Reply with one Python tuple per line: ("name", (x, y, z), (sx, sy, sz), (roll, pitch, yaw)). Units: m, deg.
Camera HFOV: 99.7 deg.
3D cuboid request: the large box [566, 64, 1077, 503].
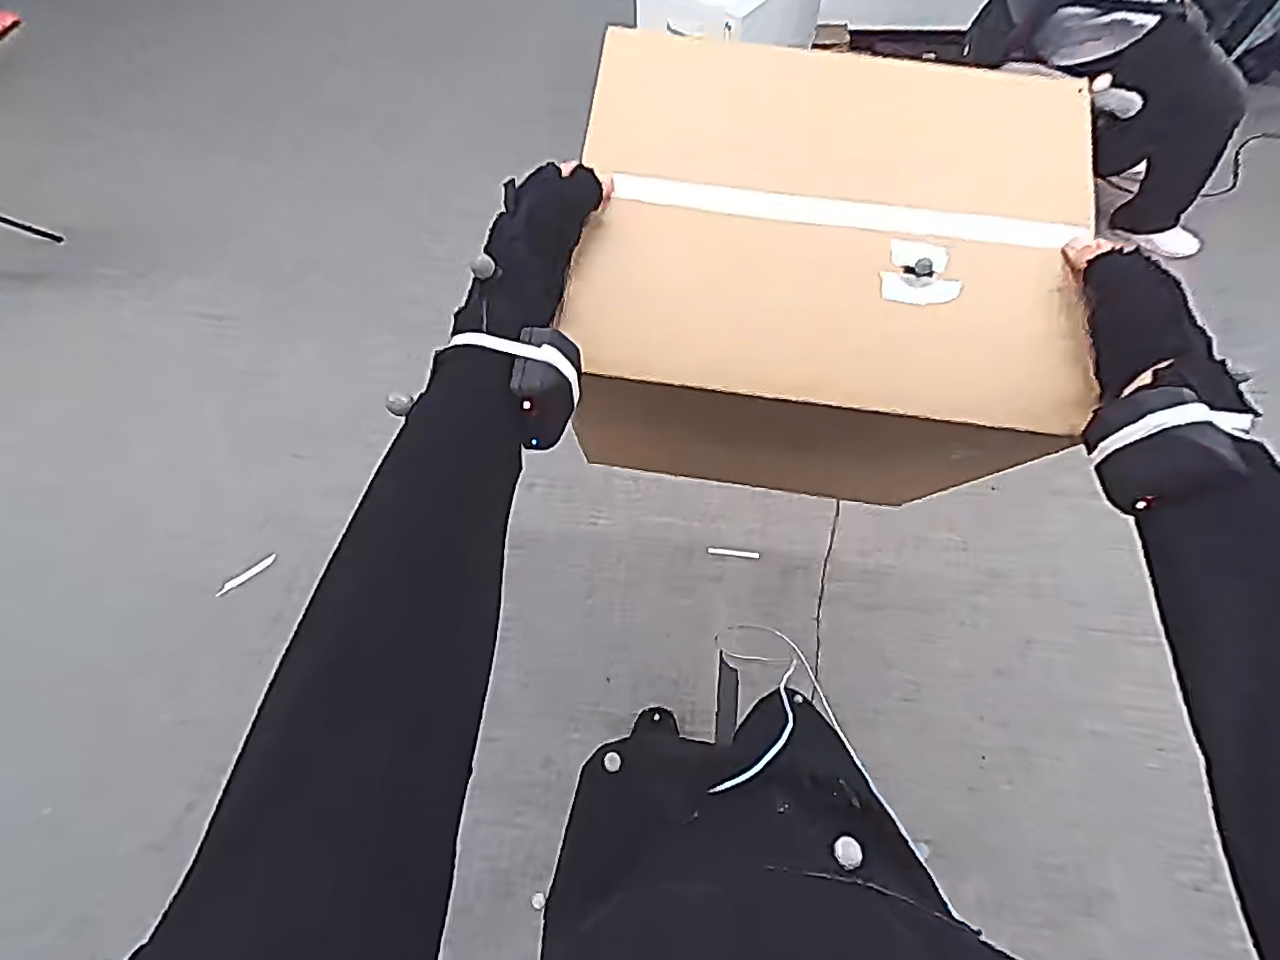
("large box", (0.154, -0.171, 0.592), (0.408, 0.320, 0.320), (8, 79, 2))
